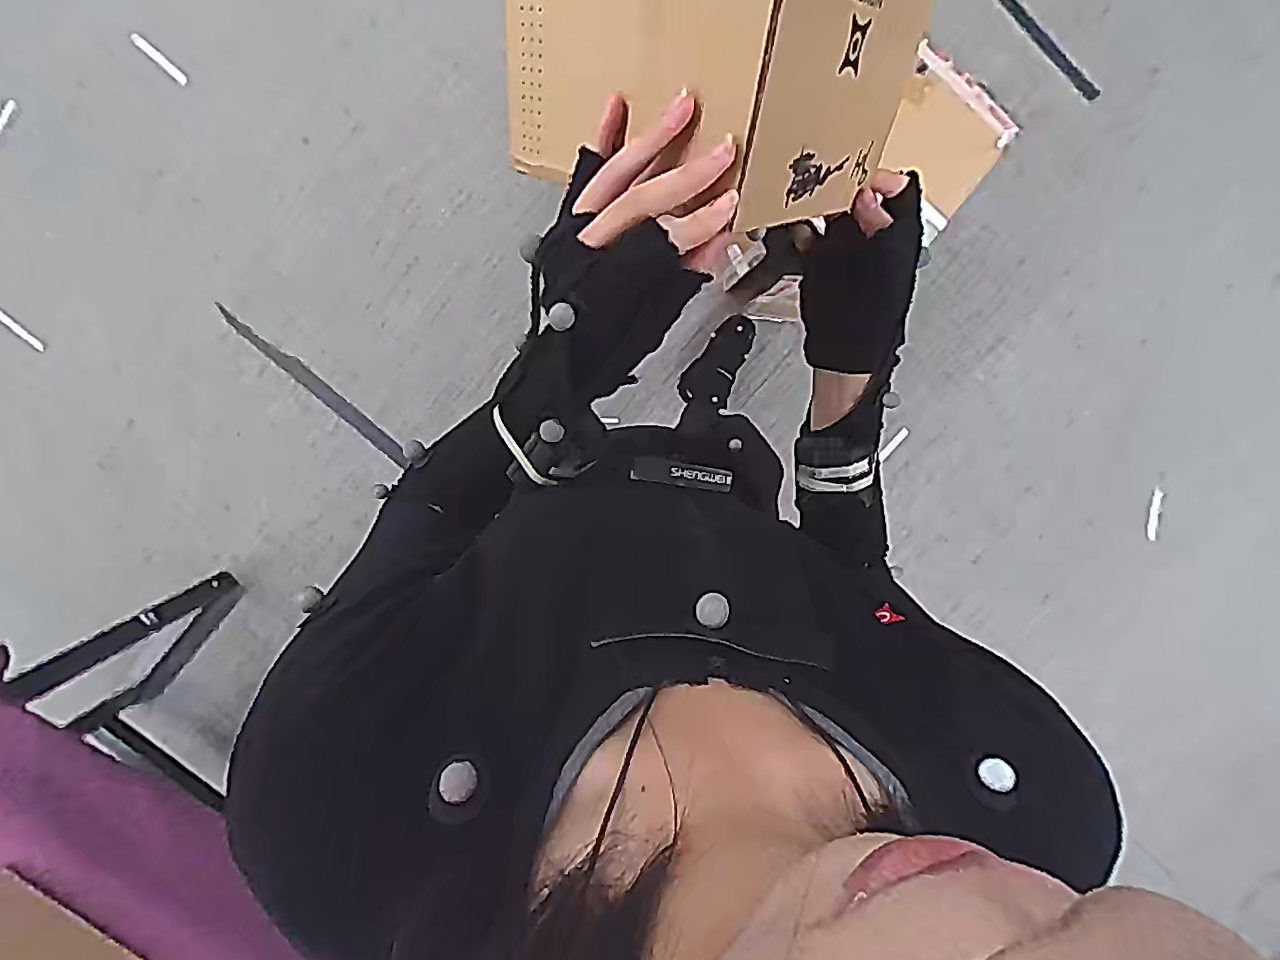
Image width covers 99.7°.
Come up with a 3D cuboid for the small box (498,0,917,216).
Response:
[{"bbox_3d":[0.036,-0.255,0.292,0.176,0.168,0.179,28,132,31],"label":"small box"}]
